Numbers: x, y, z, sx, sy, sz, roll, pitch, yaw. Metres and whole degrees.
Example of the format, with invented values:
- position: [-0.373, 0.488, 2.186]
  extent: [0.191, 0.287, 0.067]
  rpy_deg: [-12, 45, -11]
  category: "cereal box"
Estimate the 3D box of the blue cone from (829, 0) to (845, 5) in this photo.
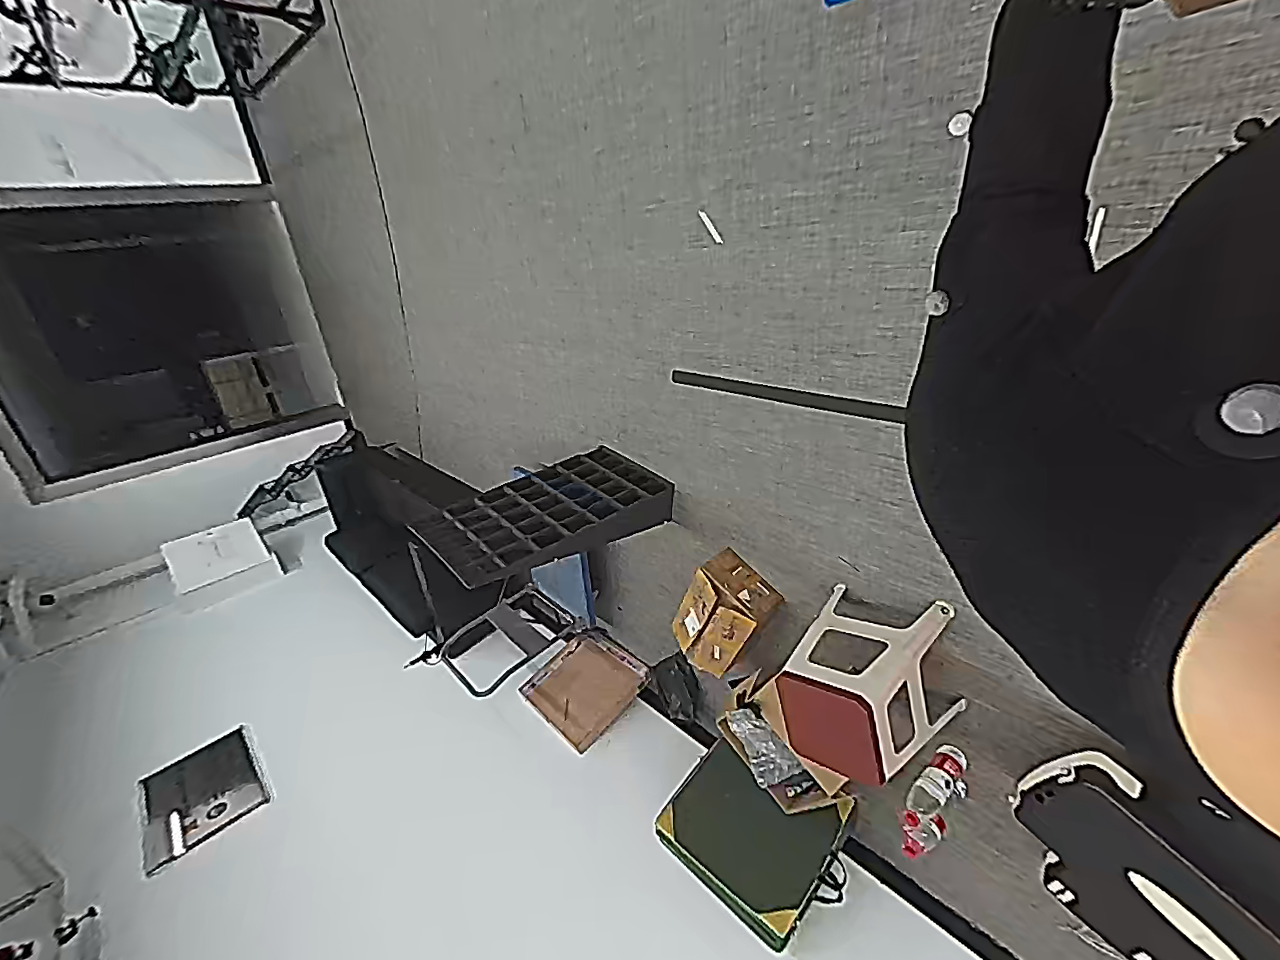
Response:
- position: [0.381, -1.145, 1.108]
  extent: [0.192, 0.380, 0.193]
  rpy_deg: [25, 128, 42]
  category: "blue cone"
